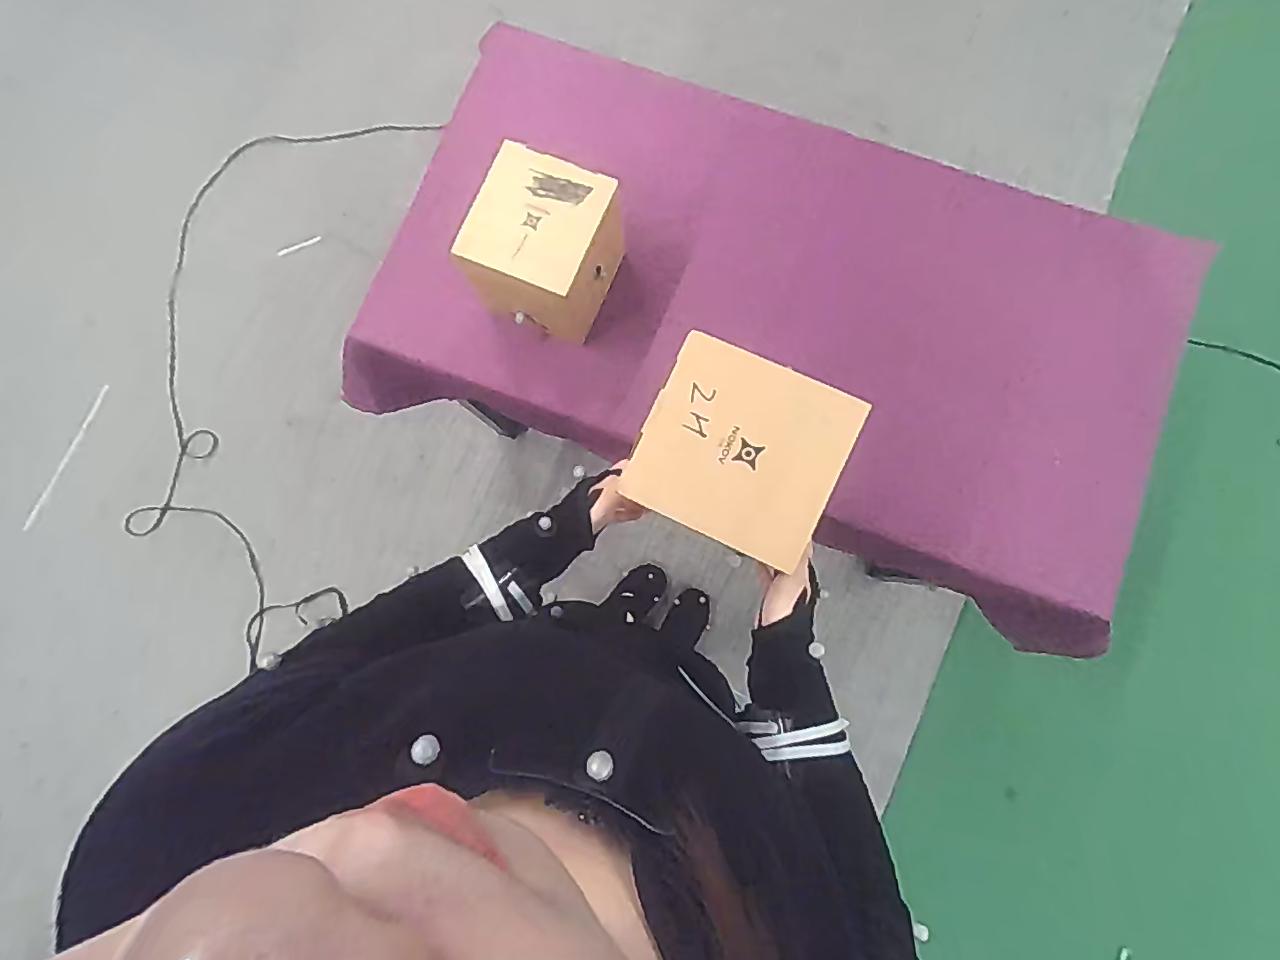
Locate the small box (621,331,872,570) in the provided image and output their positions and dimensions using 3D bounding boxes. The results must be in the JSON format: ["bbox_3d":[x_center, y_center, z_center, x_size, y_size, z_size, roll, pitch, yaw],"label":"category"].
[{"bbox_3d":[0.102,-0.024,0.563,0.179,0.176,0.168,25,89,8],"label":"small box"}]

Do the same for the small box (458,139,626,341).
[{"bbox_3d":[-0.127,-0.332,0.779,0.168,0.176,0.179,23,84,4],"label":"small box"}]
